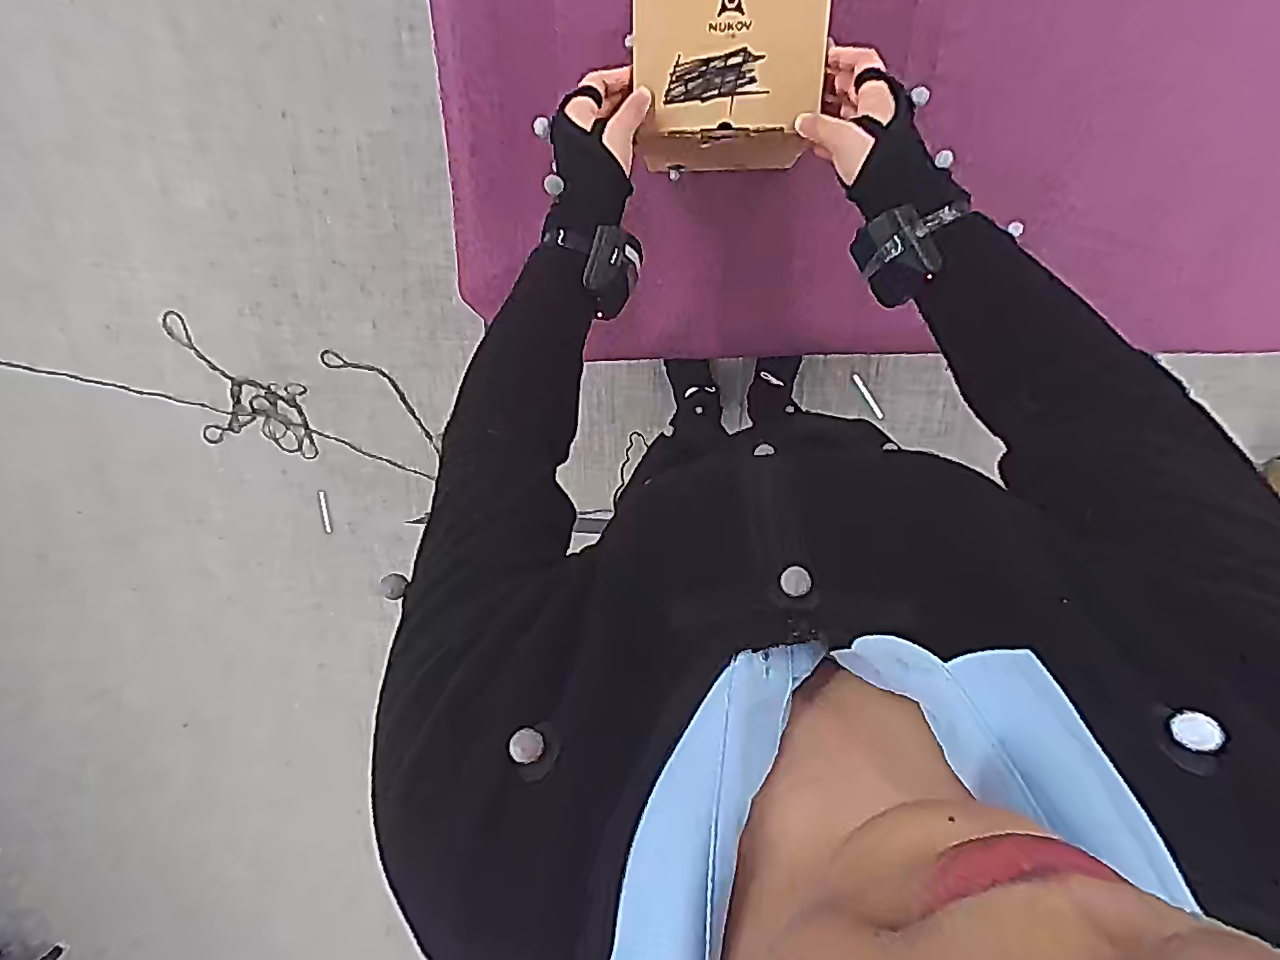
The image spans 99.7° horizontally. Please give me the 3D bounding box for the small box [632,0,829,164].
[{"bbox_3d":[0.083,-0.418,0.524,0.168,0.176,0.179,1,109,5],"label":"small box"}]
